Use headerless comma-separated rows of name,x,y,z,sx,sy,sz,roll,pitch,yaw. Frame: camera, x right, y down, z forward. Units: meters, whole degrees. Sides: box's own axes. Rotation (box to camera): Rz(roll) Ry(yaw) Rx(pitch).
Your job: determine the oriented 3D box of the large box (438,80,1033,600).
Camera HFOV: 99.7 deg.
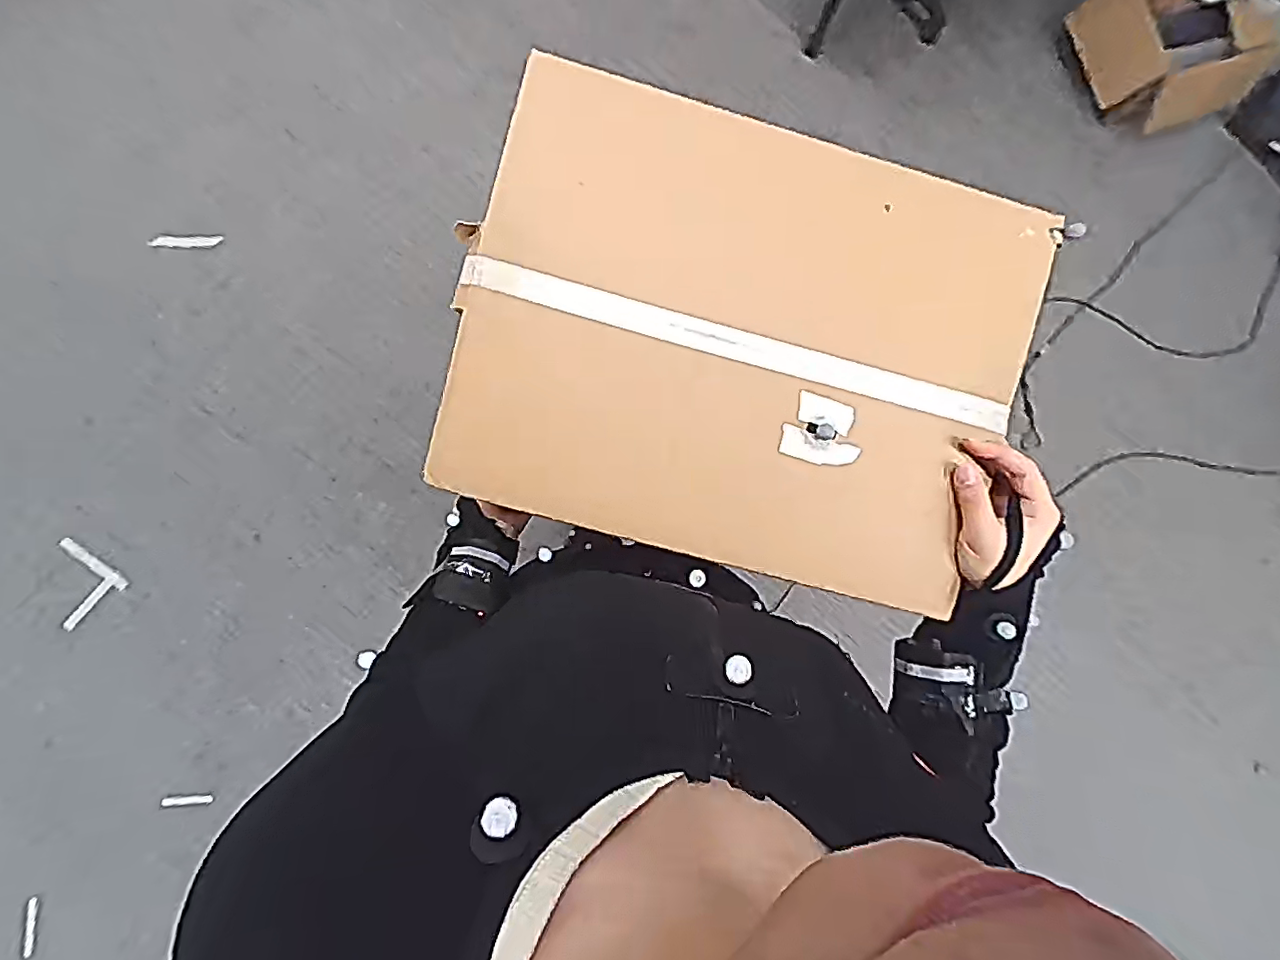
large box,0.065,-0.102,0.549,0.408,0.320,0.320,13,93,-5
